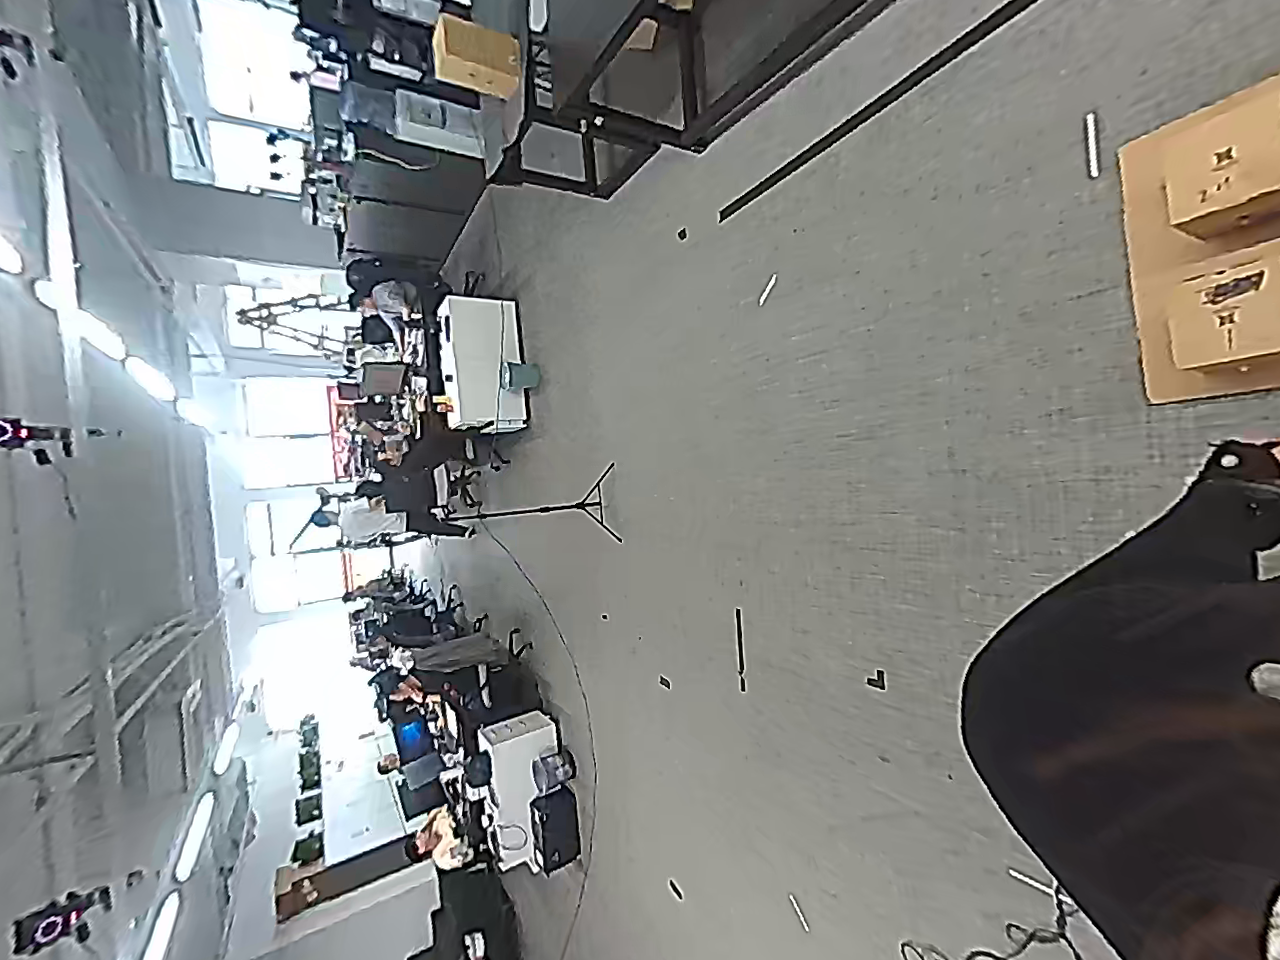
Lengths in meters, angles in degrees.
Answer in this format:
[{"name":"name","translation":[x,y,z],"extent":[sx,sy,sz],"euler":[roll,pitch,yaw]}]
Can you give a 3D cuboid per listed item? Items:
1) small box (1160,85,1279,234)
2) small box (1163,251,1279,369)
[{"name":"small box","translation":[1.157,-0.608,1.053],"extent":[0.168,0.176,0.179],"euler":[-8,89,59]},{"name":"small box","translation":[1.177,-0.324,1.067],"extent":[0.168,0.176,0.179],"euler":[-9,88,59]}]
